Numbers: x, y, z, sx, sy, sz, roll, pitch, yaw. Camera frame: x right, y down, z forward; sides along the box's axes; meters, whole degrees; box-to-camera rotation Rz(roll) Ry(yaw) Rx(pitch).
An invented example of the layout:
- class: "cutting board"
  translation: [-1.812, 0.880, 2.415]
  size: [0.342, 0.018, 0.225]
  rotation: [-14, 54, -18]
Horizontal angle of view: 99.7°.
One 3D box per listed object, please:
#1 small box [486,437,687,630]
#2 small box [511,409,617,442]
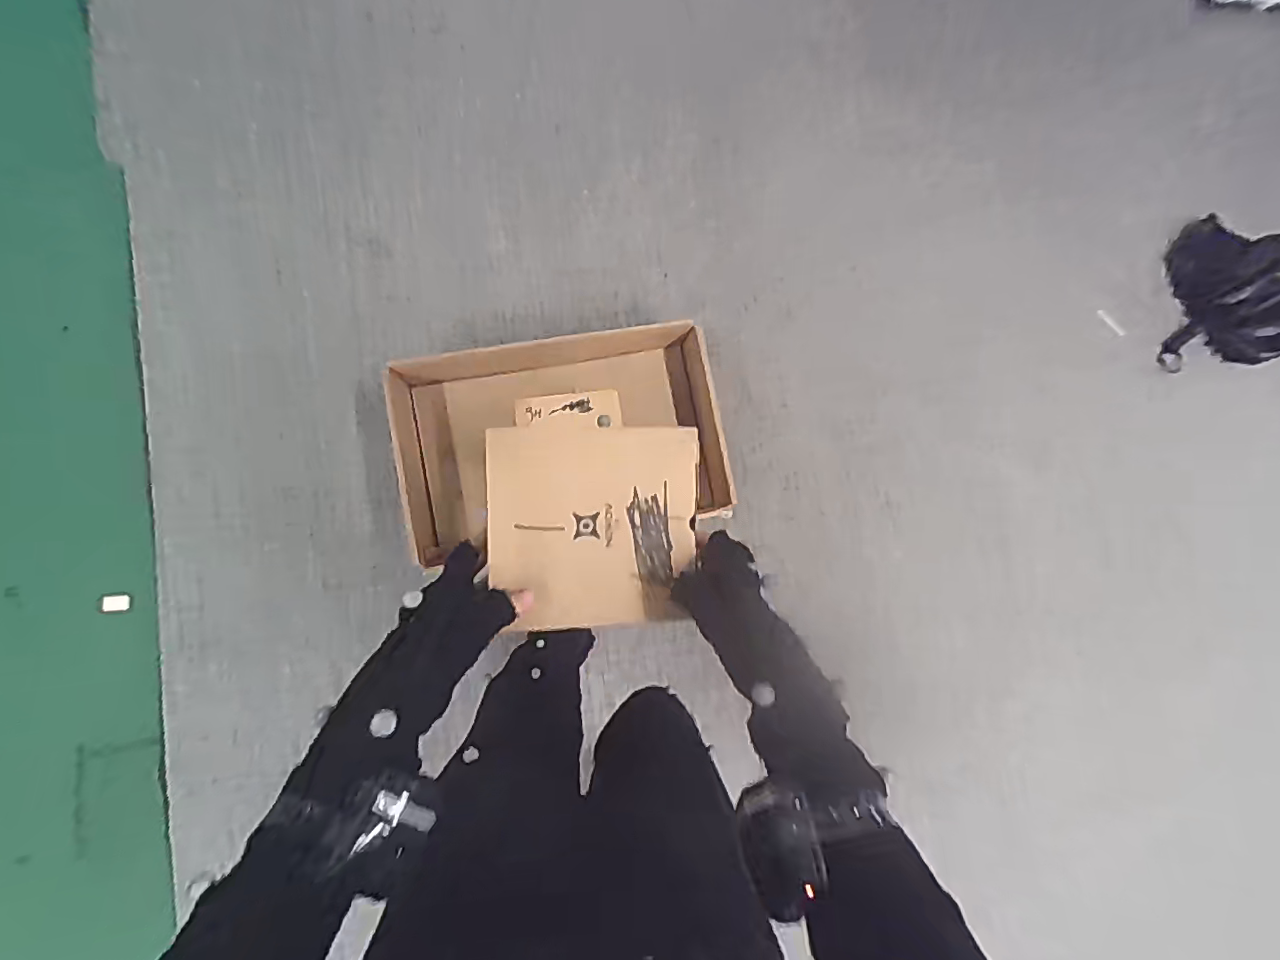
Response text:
- class: "small box"
  translation: [-0.060, 0.045, 0.548]
  size: [0.179, 0.176, 0.168]
  rotation: [0, 90, -11]
- class: "small box"
  translation: [-0.124, -0.014, 0.925]
  size: [0.168, 0.176, 0.179]
  rotation: [-6, 85, -10]
